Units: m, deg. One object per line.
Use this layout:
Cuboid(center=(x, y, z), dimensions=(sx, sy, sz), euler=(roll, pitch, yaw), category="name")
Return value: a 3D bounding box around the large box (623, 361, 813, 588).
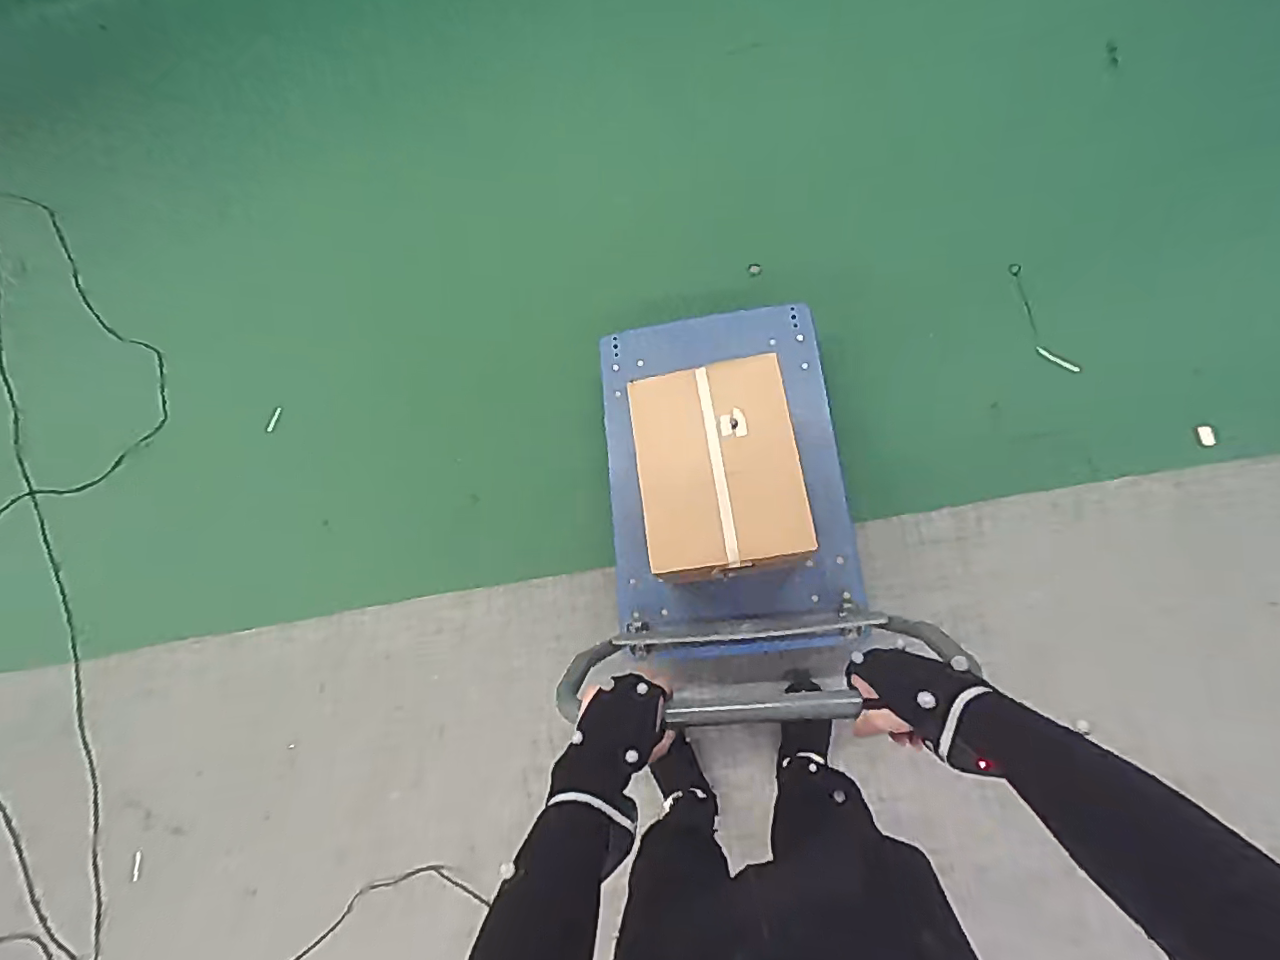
Cuboid(center=(0.170, 0.010, 1.203), dimensions=(0.320, 0.320, 0.408), euler=(-10, 74, 8), category="large box")
